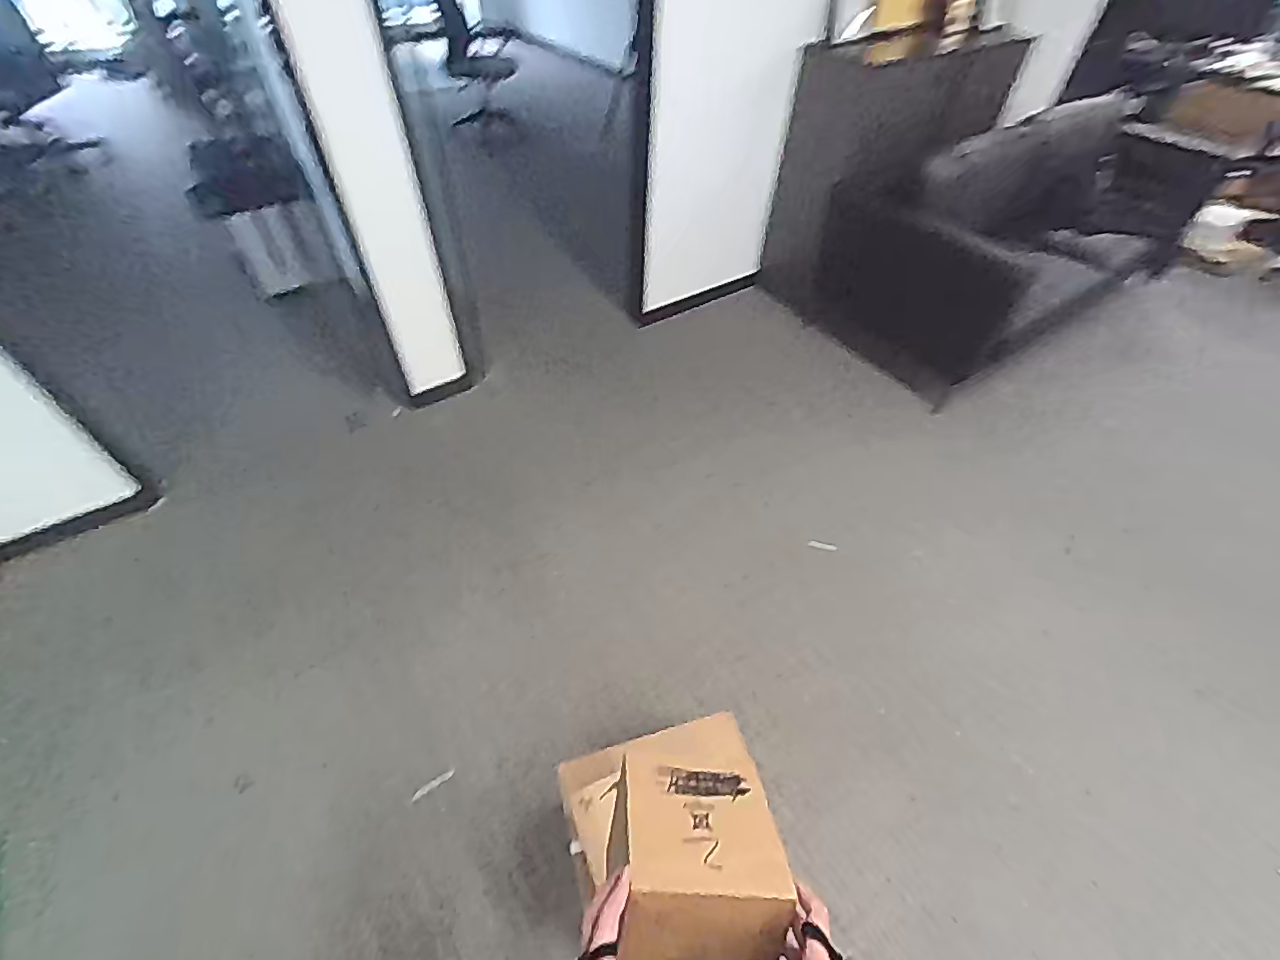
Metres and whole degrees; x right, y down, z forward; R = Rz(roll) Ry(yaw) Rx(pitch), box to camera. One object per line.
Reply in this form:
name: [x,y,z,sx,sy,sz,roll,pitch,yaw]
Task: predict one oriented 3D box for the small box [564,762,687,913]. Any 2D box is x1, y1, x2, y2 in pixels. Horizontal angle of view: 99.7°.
small box: [-0.031,0.659,0.997,0.168,0.176,0.179,-17,53,-18]
